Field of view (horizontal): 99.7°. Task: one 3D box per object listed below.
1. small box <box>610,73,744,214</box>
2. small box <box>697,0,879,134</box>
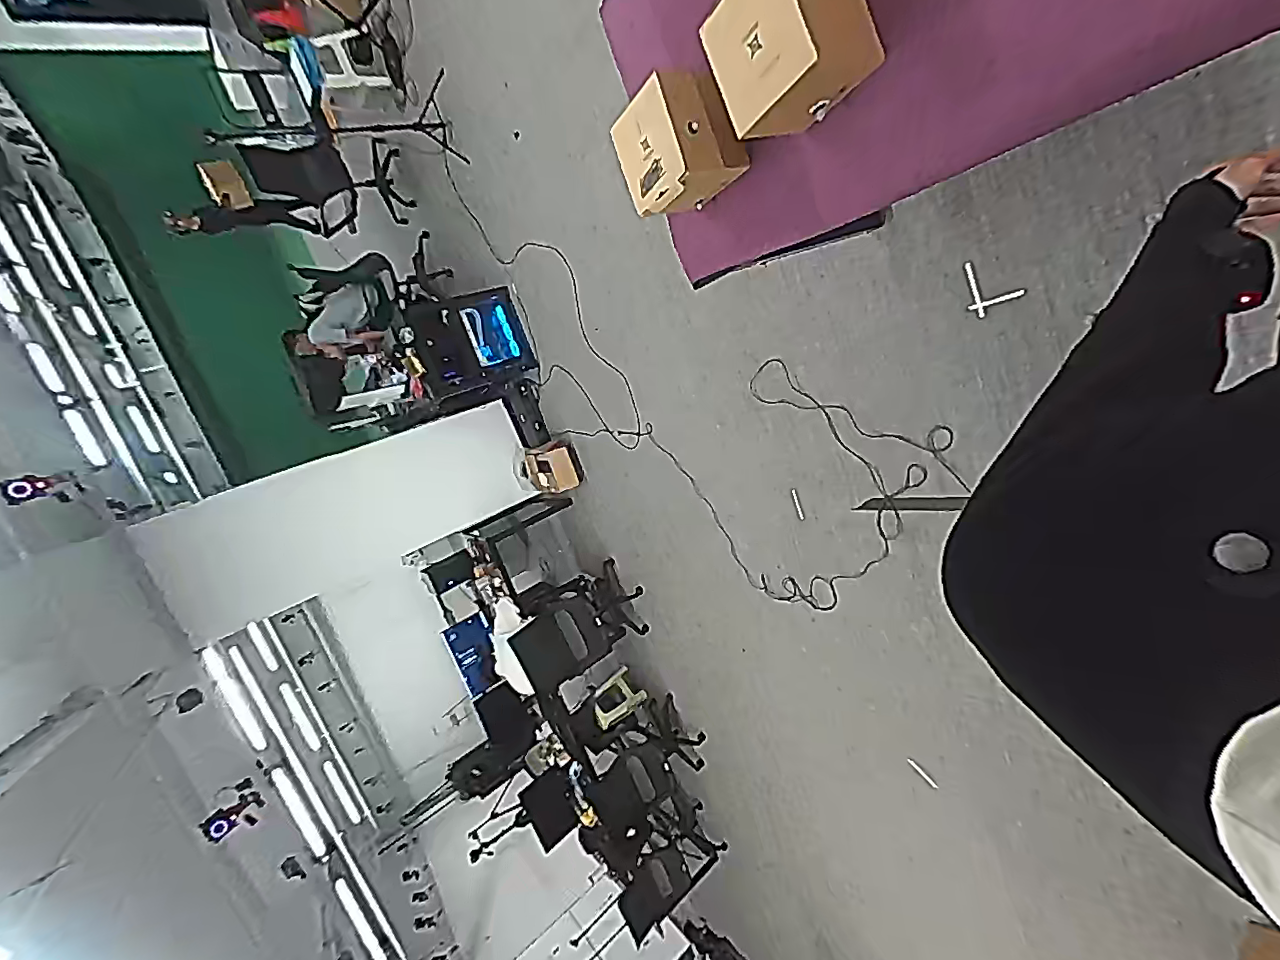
[{"bbox_3d":[0.075,-0.648,1.047,0.168,0.176,0.179,-8,105,58],"label":"small box"},{"bbox_3d":[0.223,-0.660,0.816,0.168,0.176,0.179,-13,102,60],"label":"small box"}]
